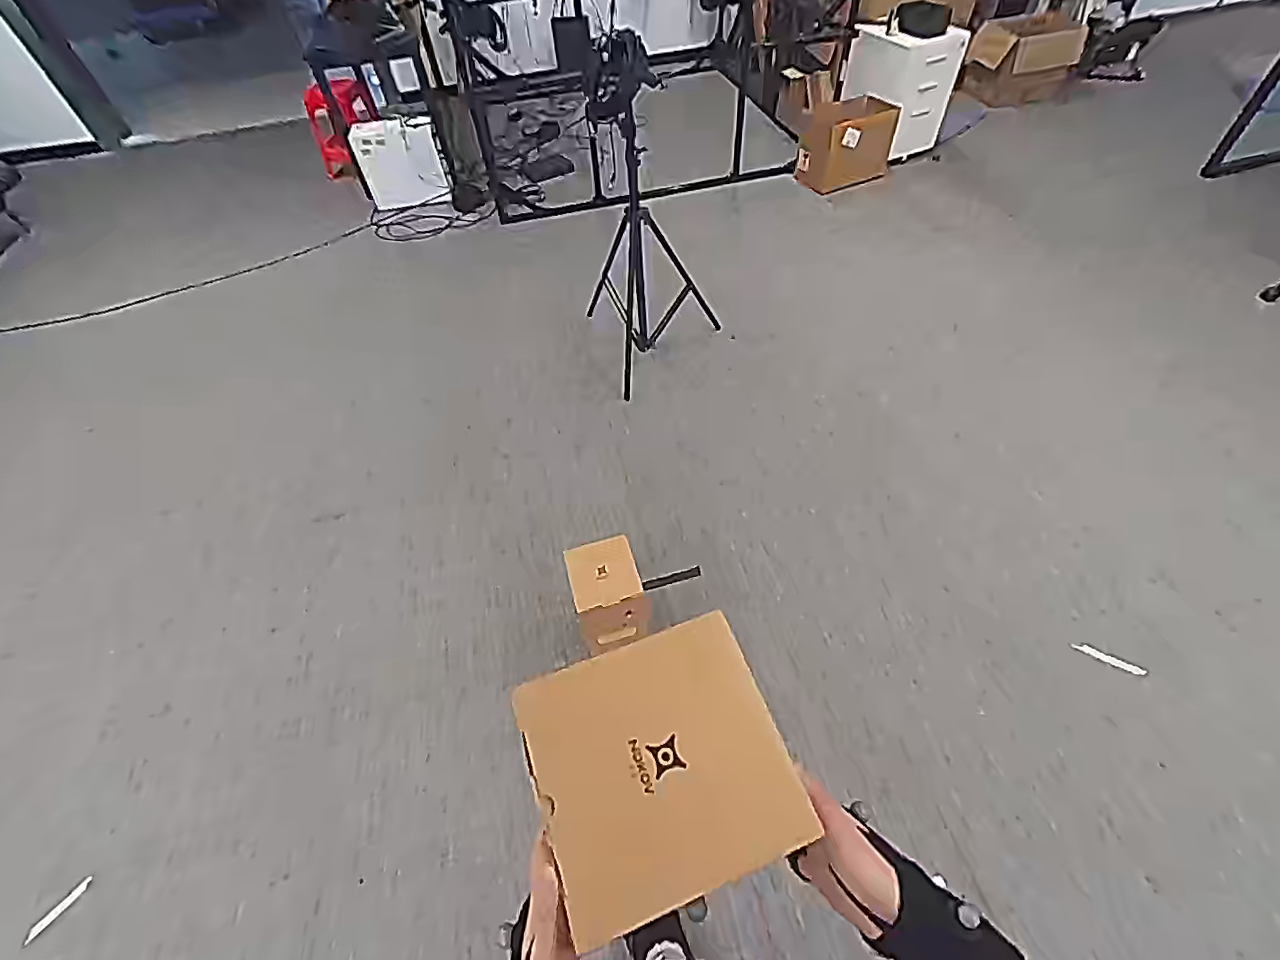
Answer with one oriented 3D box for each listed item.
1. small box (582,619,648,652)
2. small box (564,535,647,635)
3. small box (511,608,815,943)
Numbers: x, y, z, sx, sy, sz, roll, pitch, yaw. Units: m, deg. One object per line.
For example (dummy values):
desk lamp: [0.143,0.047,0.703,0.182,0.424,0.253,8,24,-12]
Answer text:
small box: [-0.077,0.375,1.500,0.168,0.176,0.179,-15,52,-7]
small box: [-0.085,0.274,1.373,0.168,0.176,0.179,-15,51,-8]
small box: [0.009,0.231,0.453,0.179,0.176,0.168,-19,63,-10]
